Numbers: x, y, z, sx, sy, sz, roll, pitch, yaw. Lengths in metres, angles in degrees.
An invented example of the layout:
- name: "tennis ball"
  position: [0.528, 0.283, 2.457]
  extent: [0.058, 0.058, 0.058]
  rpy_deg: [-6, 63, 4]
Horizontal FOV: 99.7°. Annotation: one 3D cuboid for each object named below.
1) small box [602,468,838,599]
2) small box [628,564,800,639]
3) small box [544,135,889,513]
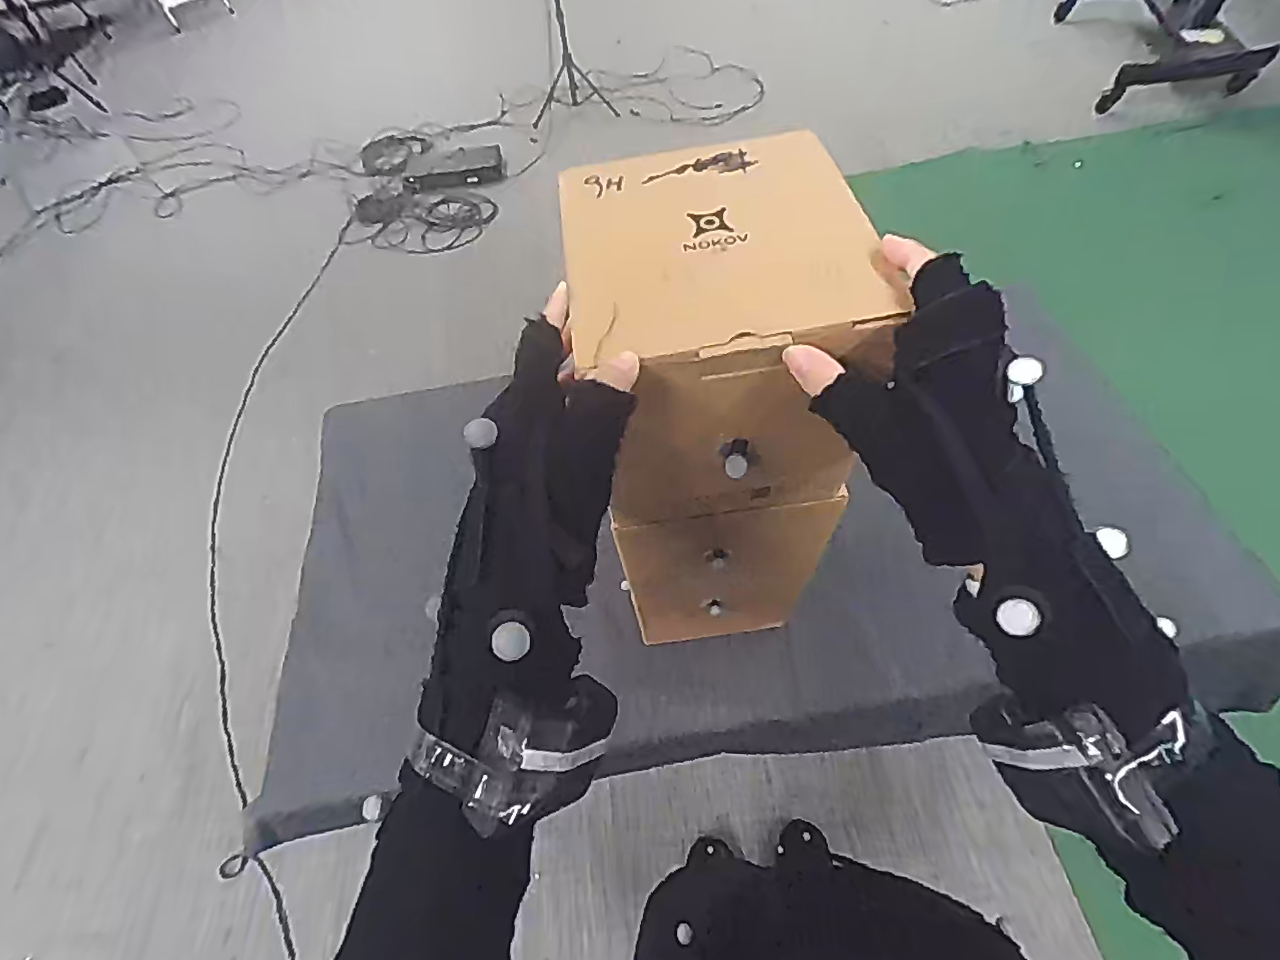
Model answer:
- name: "small box"
  position: [0.059, -0.001, 0.504]
  extent: [0.179, 0.176, 0.168]
  rpy_deg: [-9, 58, 2]
- name: "small box"
  position: [0.074, 0.080, 0.646]
  extent: [0.179, 0.176, 0.168]
  rpy_deg: [-9, 59, 0]
- name: "small box"
  position: [0.039, -0.090, 0.369]
  extent: [0.168, 0.176, 0.179]
  rpy_deg: [-10, 60, 1]
